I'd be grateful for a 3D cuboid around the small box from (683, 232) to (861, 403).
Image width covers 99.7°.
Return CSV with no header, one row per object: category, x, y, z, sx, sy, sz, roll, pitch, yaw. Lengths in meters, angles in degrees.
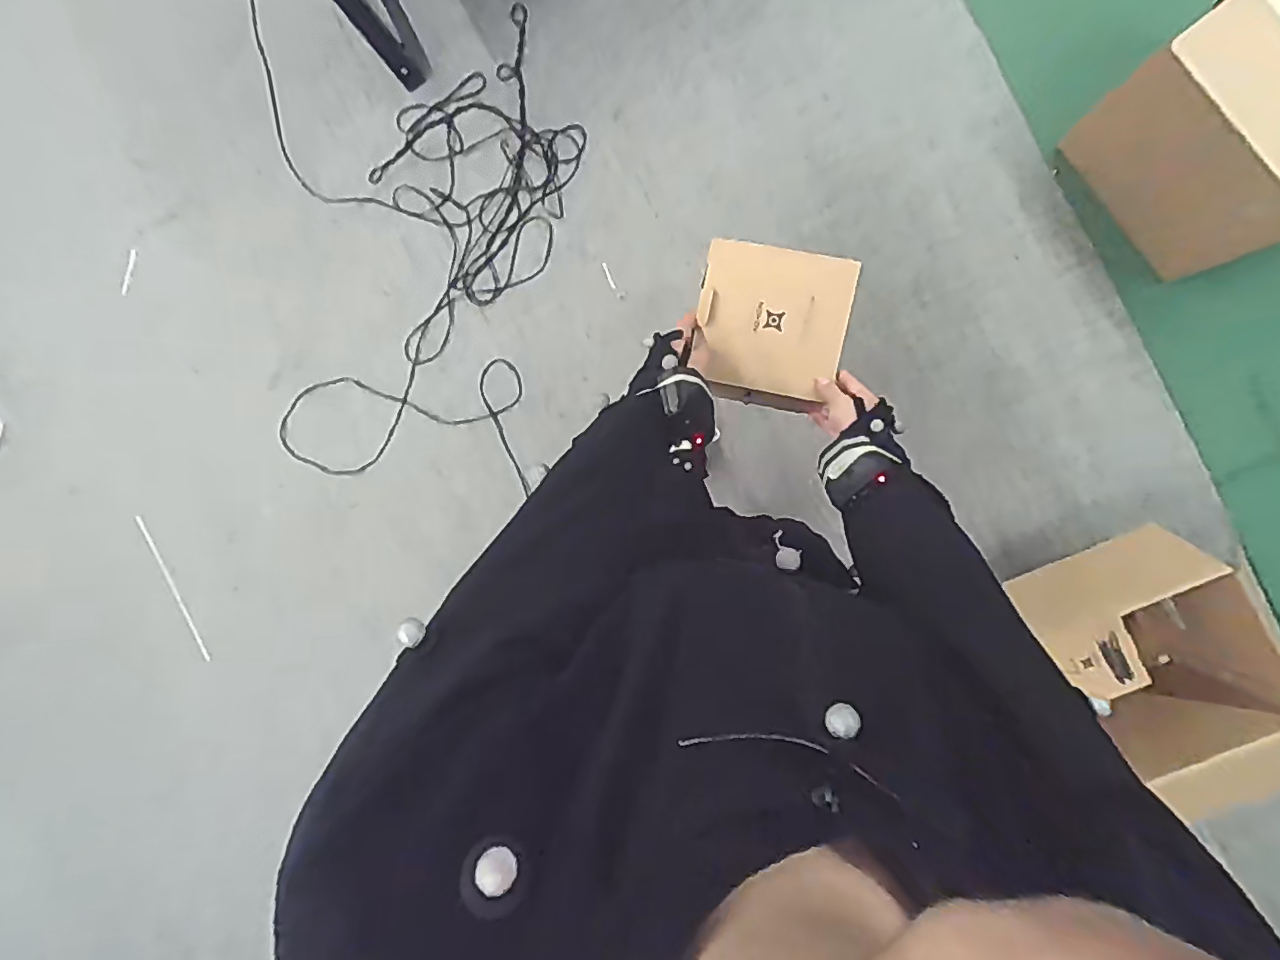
small box,0.160,-0.197,0.703,0.179,0.176,0.168,11,95,5
